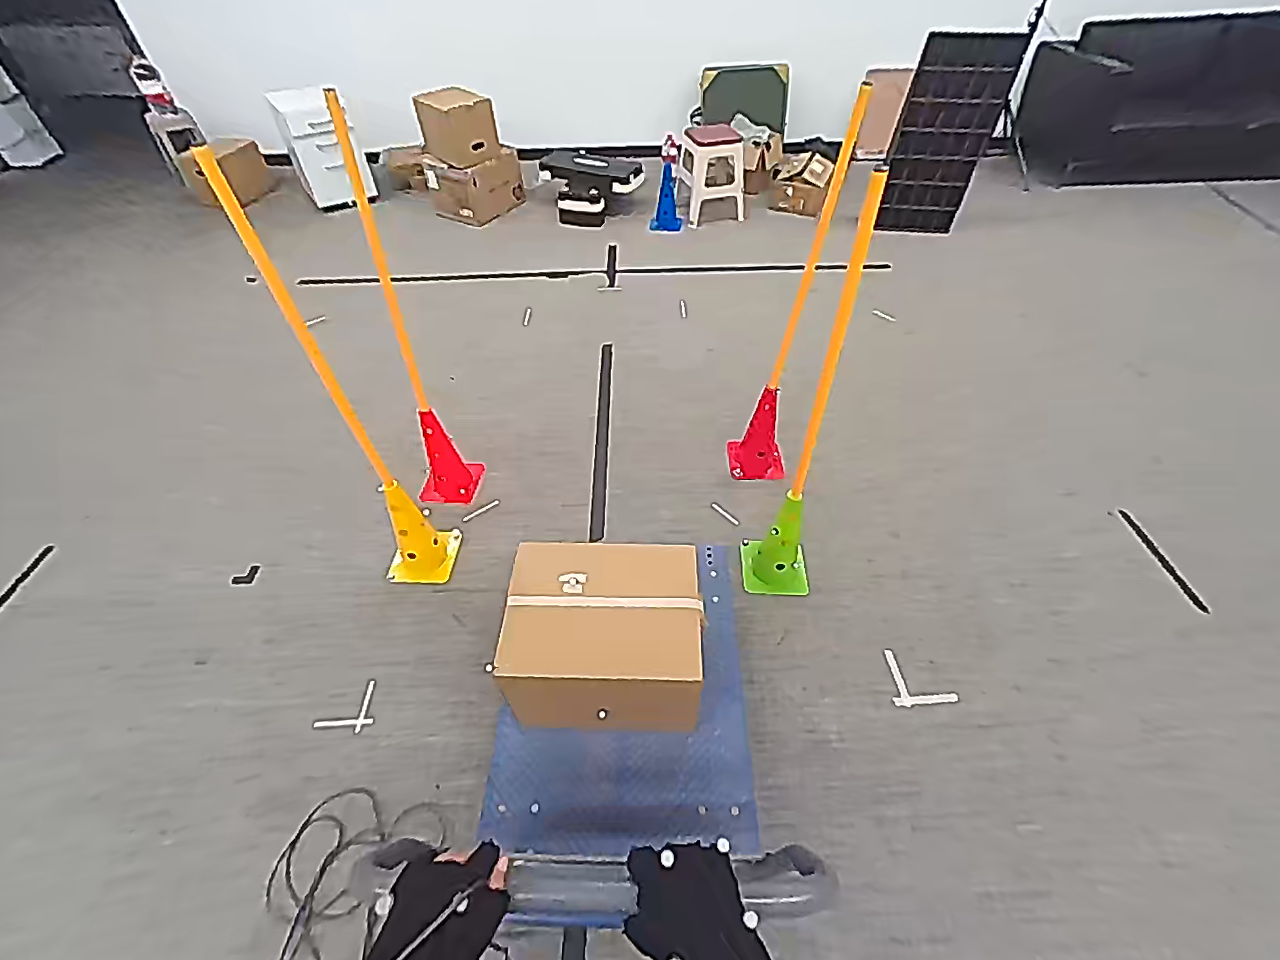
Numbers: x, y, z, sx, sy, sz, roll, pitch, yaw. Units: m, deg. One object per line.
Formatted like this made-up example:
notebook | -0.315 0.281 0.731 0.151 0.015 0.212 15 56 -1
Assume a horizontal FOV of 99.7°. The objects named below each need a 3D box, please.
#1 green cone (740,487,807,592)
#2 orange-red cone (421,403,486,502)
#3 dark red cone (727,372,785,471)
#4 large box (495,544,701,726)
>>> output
green cone | 0.429 0.156 1.617 0.202 0.368 0.200 3 48 1
orange-red cone | -0.687 -0.120 1.878 0.198 0.360 0.199 6 47 4
dark red cone | 0.442 -0.215 1.929 0.201 0.394 0.202 0 48 -2
large box | -0.074 0.360 1.241 0.408 0.320 0.320 1 48 2
